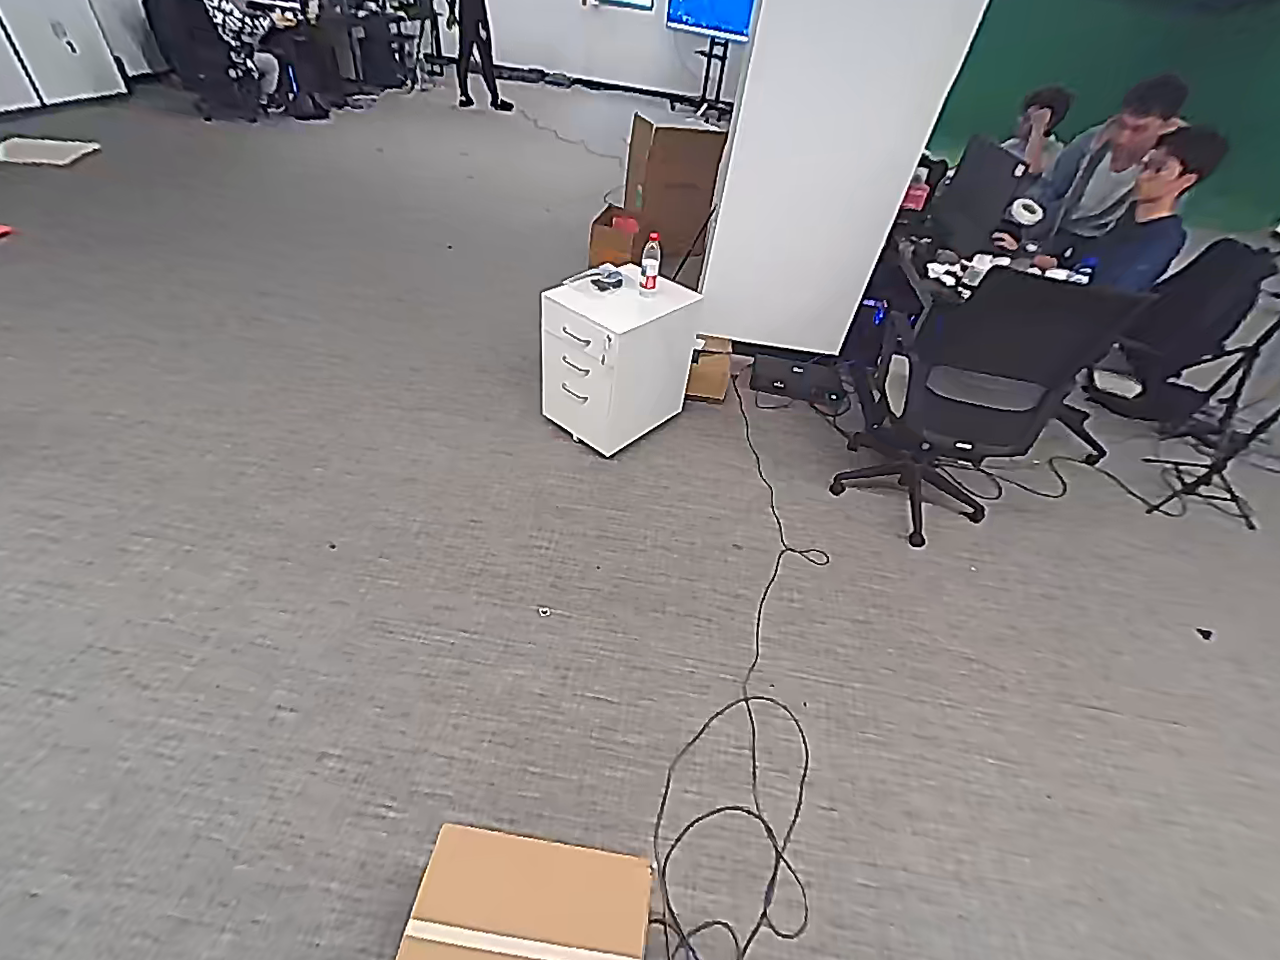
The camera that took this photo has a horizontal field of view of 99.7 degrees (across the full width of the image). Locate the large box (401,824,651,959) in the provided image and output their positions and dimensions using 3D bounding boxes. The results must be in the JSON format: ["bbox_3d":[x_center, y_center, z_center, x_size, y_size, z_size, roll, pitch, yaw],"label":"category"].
[{"bbox_3d":[-0.208,0.894,1.011,0.408,0.320,0.320,10,42,1],"label":"large box"}]
